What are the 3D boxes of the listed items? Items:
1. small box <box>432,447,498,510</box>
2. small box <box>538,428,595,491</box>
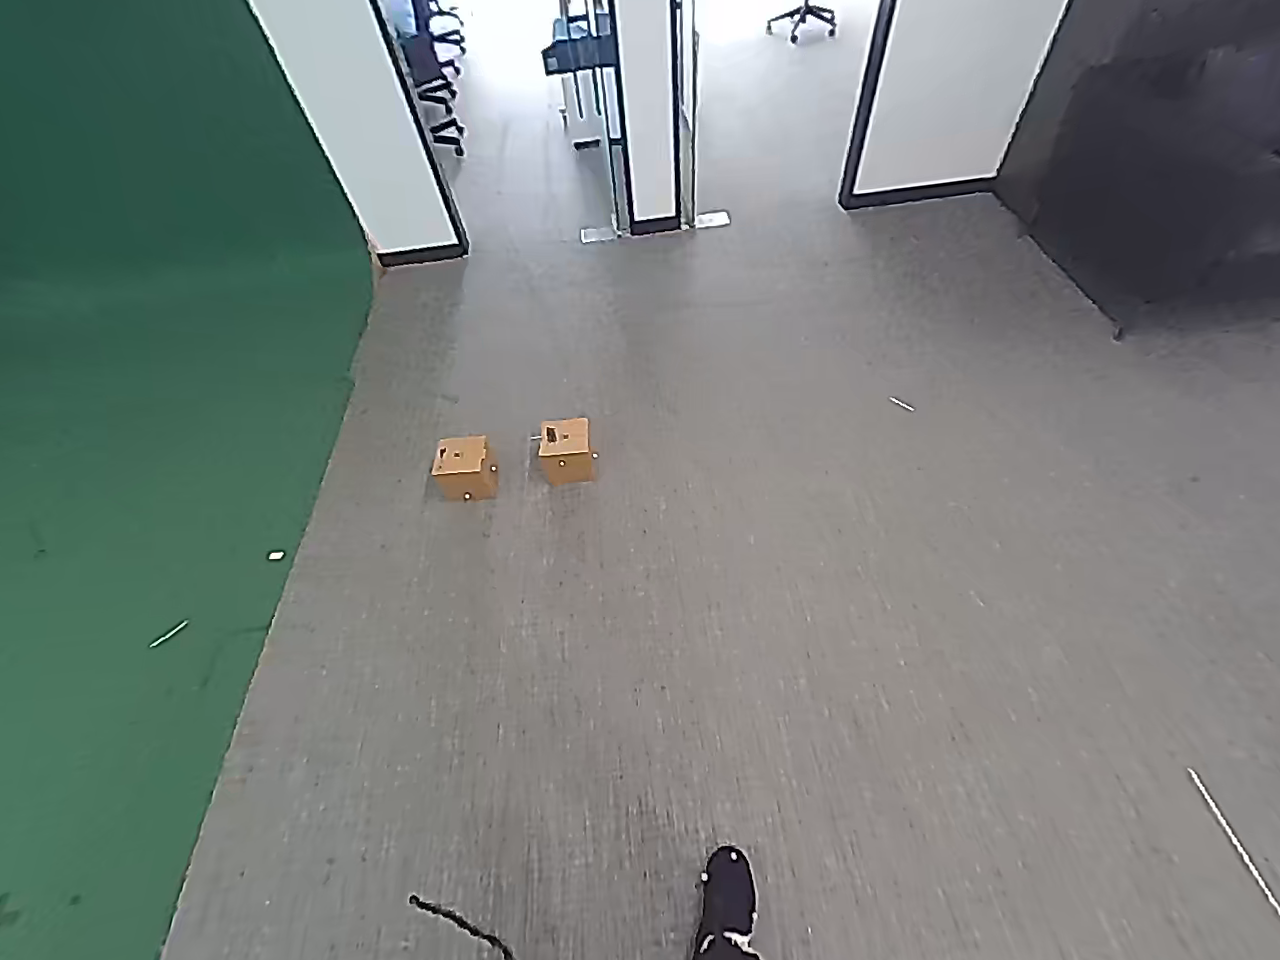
[{"bbox_3d":[-0.634,-0.004,1.982,0.179,0.176,0.168,-3,52,2],"label":"small box"},{"bbox_3d":[-0.266,-0.071,1.995,0.179,0.176,0.168,-5,52,1],"label":"small box"}]
